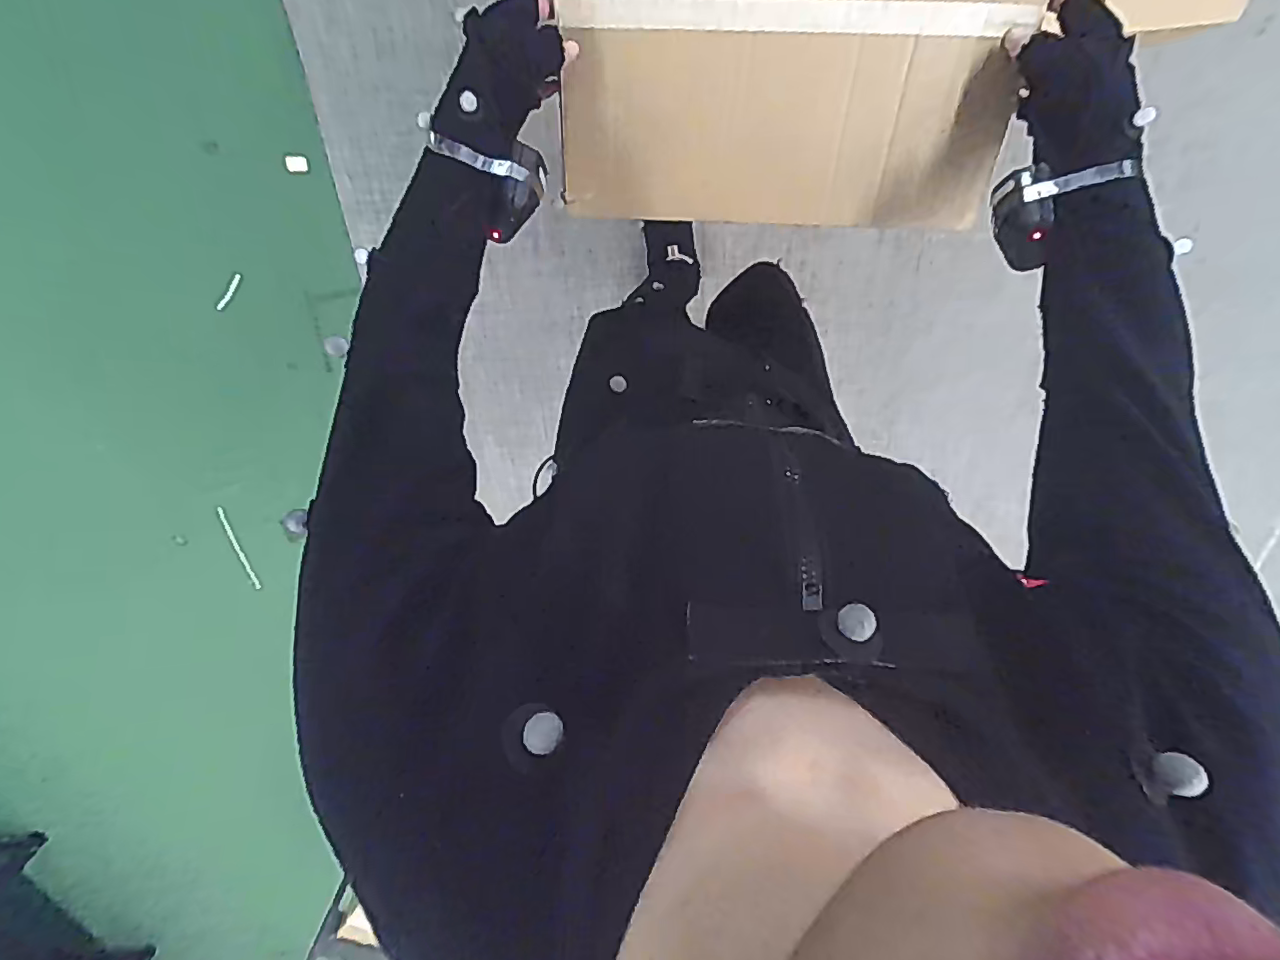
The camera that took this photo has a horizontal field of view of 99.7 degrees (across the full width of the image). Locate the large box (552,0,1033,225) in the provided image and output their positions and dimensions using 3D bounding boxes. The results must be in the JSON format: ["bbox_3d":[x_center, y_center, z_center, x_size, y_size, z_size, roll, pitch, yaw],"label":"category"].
[{"bbox_3d":[0.133,-0.472,0.580,0.408,0.320,0.320,3,123,2],"label":"large box"}]
